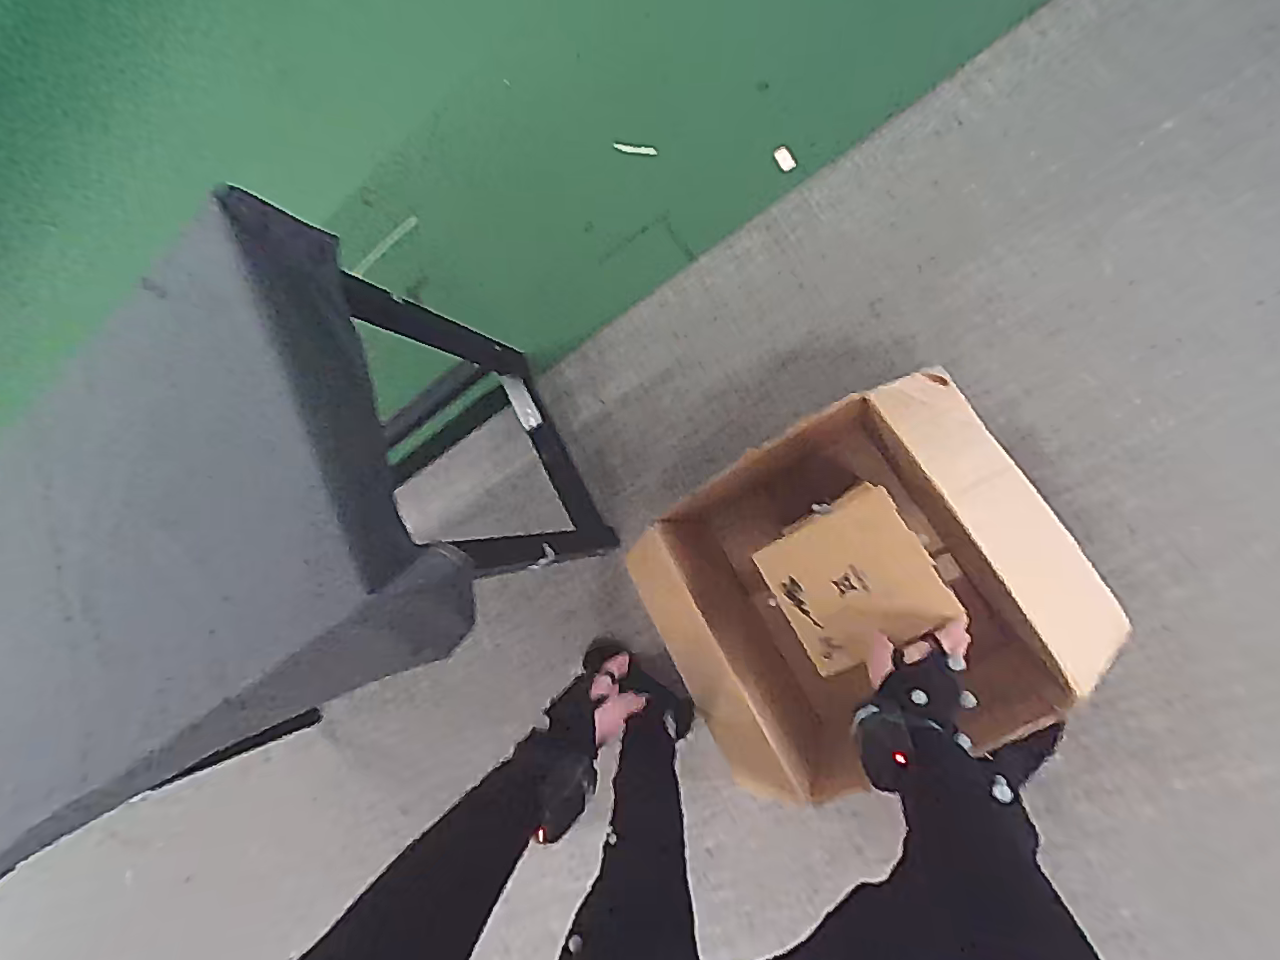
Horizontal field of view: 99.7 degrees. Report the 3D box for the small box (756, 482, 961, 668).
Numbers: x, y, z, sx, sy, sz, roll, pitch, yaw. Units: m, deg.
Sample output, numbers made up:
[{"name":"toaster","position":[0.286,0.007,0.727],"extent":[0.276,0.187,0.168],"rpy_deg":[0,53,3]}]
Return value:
[{"name":"small box","position":[0.275,0.115,0.710],"extent":[0.179,0.176,0.168],"rpy_deg":[-32,78,15]}]
